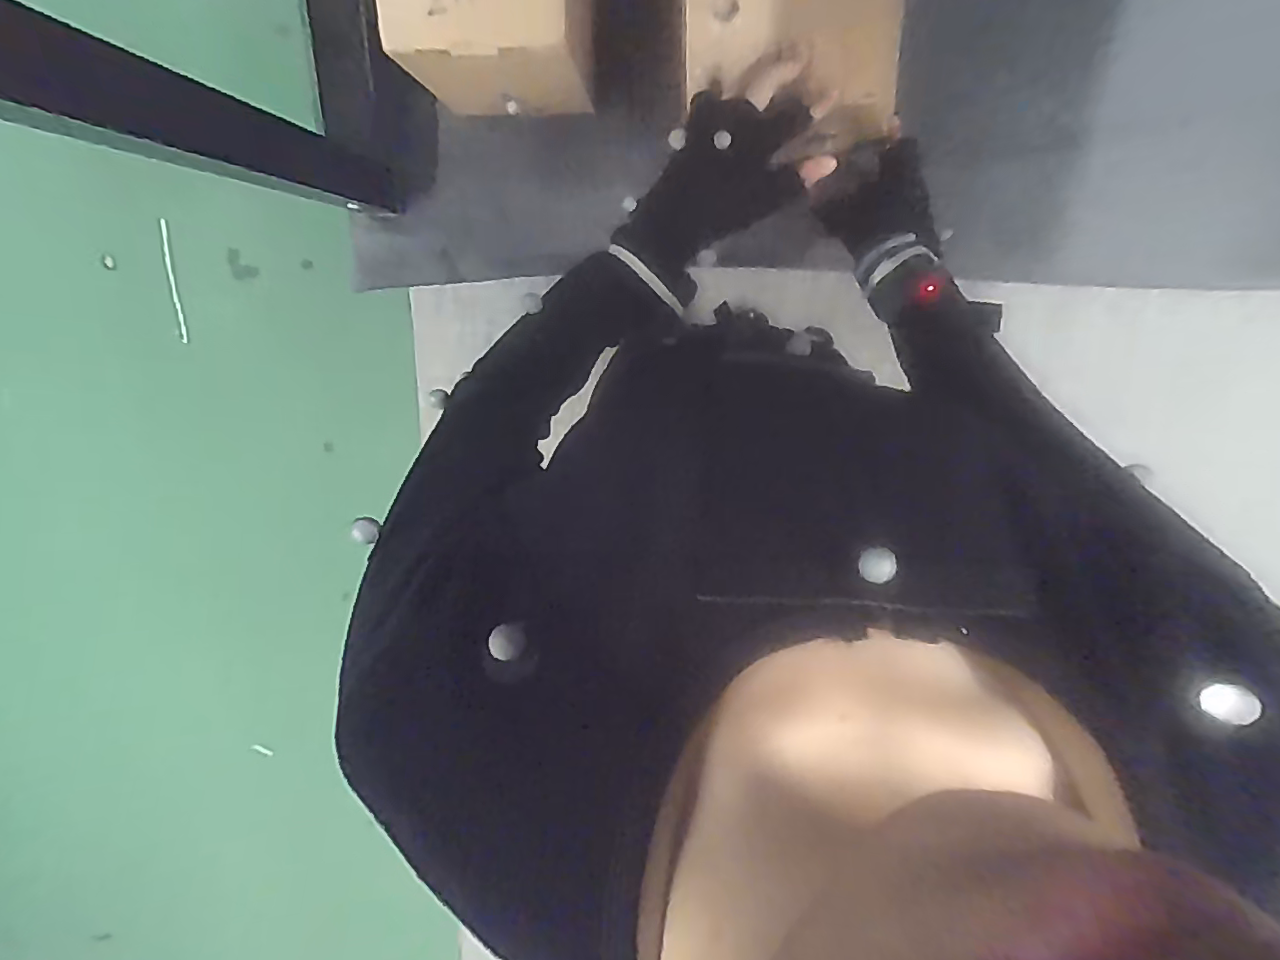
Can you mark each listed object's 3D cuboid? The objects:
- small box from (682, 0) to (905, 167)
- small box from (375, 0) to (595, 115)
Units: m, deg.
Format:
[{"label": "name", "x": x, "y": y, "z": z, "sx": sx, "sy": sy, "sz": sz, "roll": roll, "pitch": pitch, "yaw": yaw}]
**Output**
[{"label": "small box", "x": 0.146, "y": -0.408, "z": 0.489, "sx": 0.176, "sy": 0.168, "sz": 0.179, "roll": 6, "pitch": 108, "yaw": 25}, {"label": "small box", "x": -0.138, "y": -0.478, "z": 0.518, "sx": 0.168, "sy": 0.176, "sz": 0.179, "roll": 2, "pitch": 108, "yaw": 5}]
